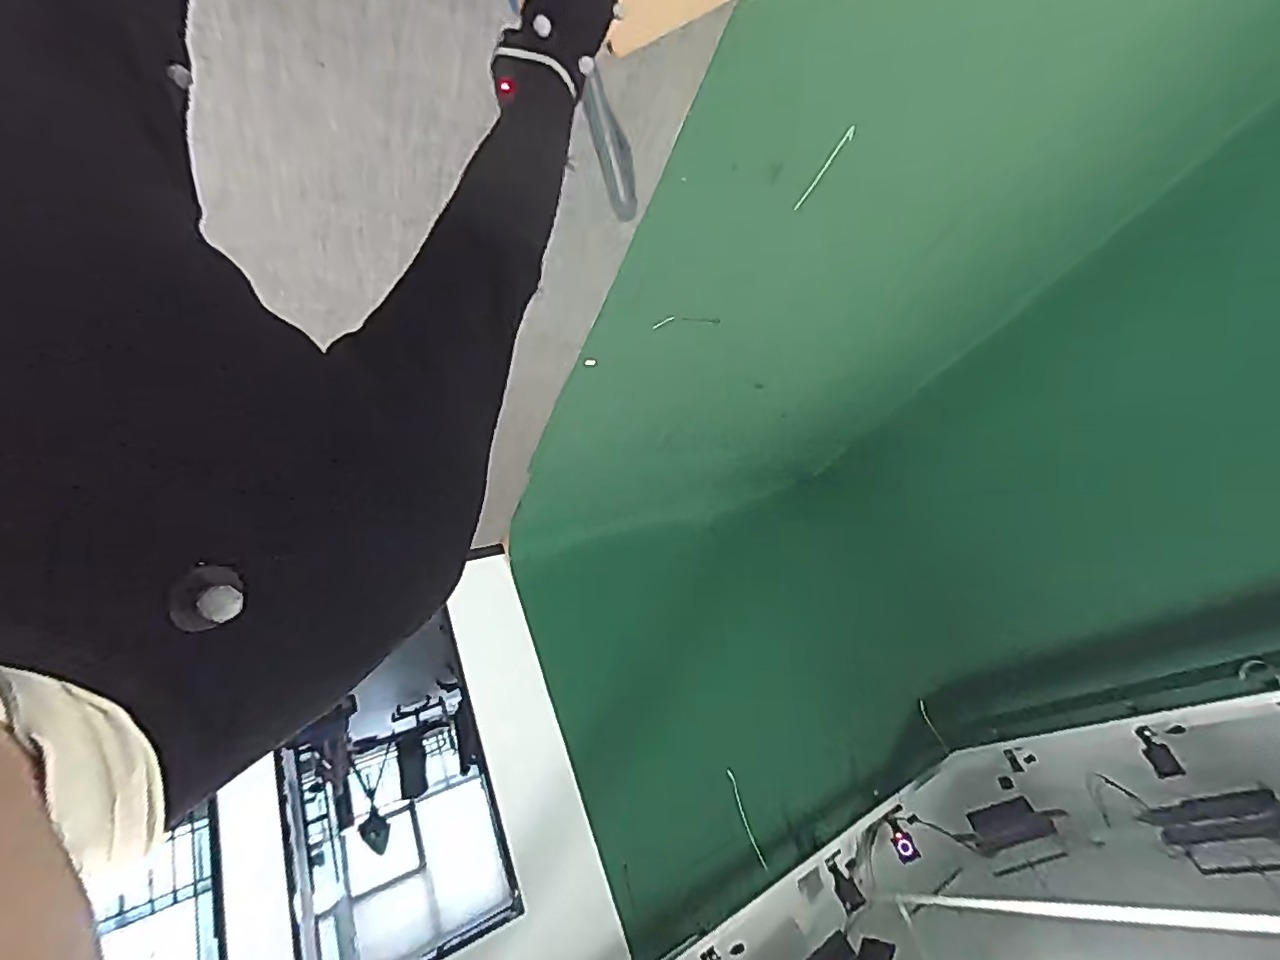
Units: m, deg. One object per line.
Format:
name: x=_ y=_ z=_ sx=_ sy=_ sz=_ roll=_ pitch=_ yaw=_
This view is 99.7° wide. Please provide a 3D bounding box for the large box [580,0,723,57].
large box: x=0.047 y=-1.008 z=0.865 sx=0.408 sy=0.320 sz=0.320 roll=-27 pitch=157 yaw=3
